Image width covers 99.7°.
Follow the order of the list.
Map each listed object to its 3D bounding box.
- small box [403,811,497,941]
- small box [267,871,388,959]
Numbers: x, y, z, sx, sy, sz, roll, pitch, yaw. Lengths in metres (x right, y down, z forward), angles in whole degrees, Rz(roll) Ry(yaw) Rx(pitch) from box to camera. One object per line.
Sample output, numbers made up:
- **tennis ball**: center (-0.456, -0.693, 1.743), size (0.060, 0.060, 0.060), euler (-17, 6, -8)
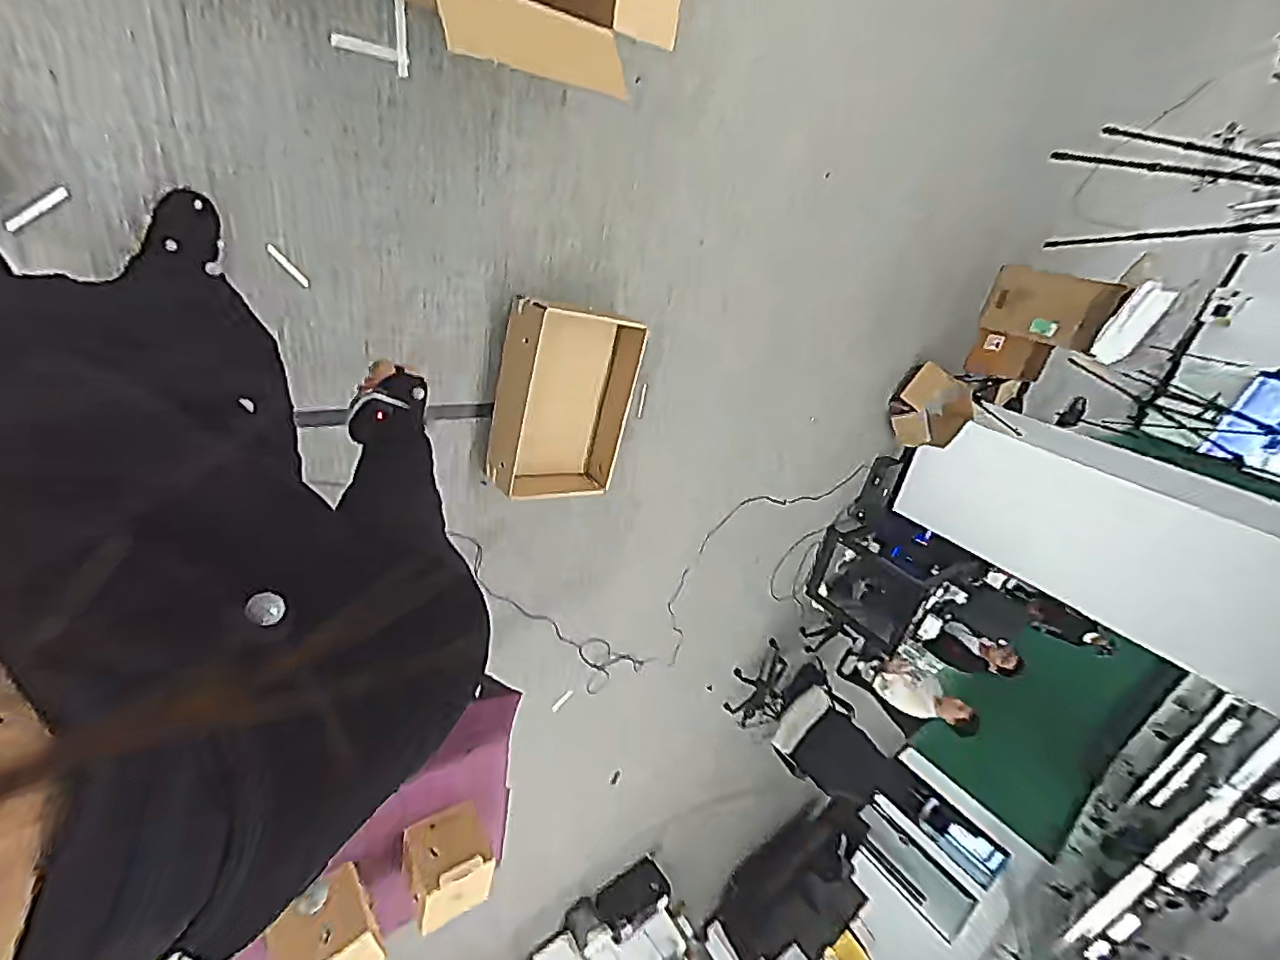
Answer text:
- **small box**: center (-0.469, 0.952, 1.323), size (0.168, 0.176, 0.179), euler (-6, 120, -39)
- **small box**: center (-0.674, 1.005, 1.170), size (0.179, 0.176, 0.168), euler (-20, 128, -31)
